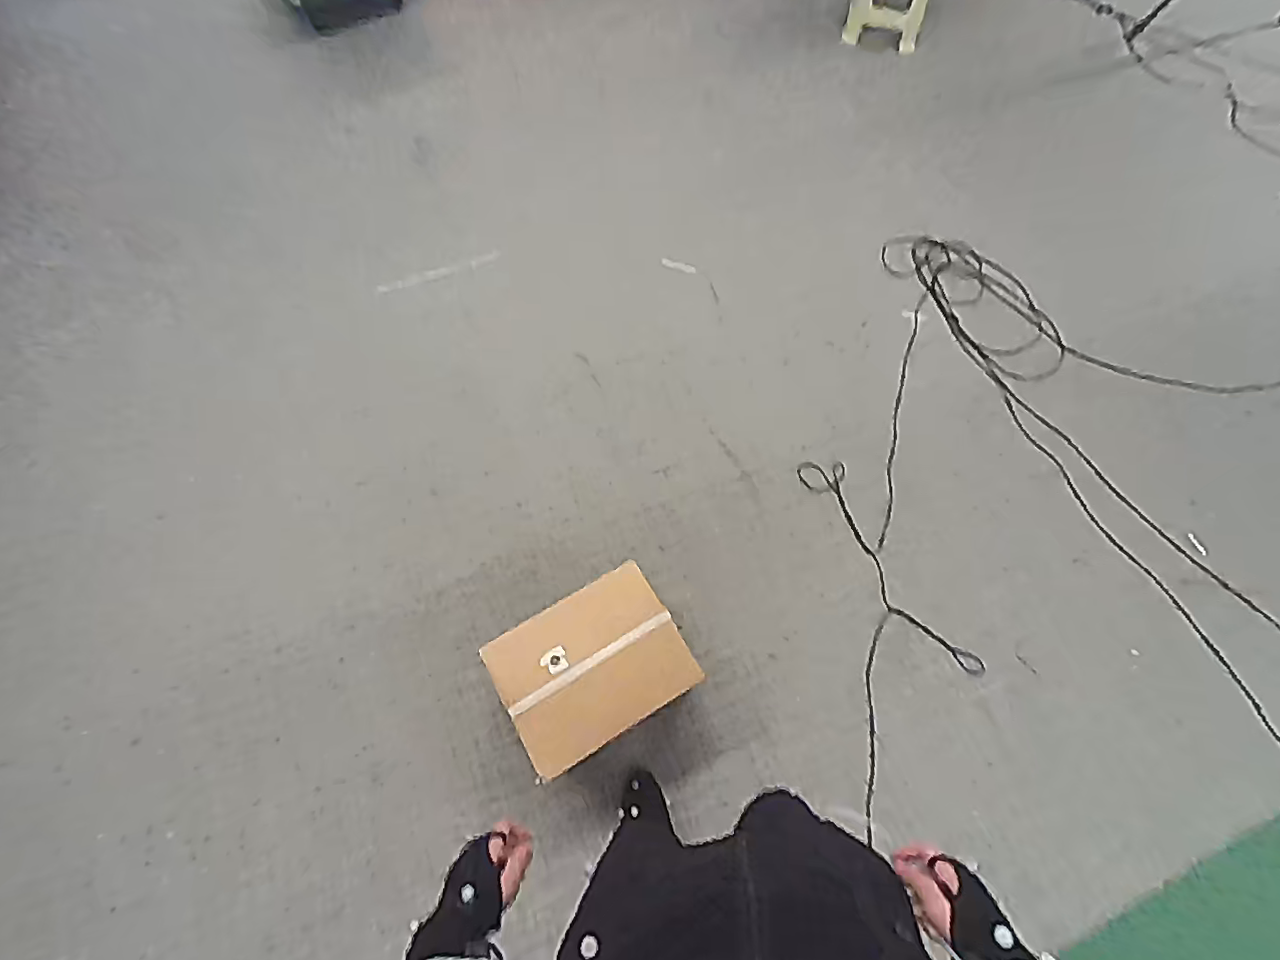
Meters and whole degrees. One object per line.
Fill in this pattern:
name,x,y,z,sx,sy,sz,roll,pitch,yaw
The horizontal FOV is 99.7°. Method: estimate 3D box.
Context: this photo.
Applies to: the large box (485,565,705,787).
large box,-0.101,0.468,1.330,0.408,0.320,0.320,-29,71,-12
